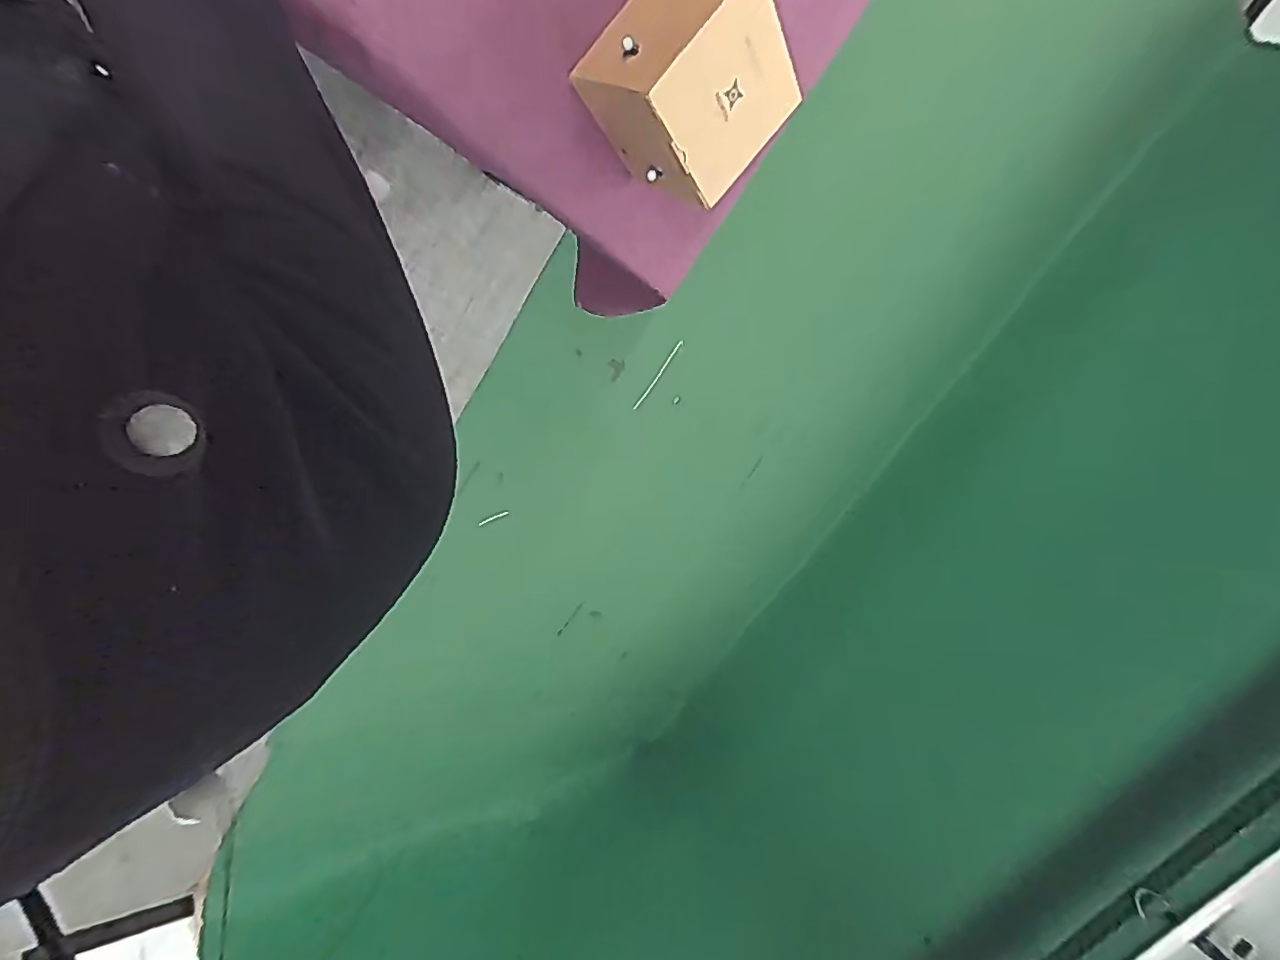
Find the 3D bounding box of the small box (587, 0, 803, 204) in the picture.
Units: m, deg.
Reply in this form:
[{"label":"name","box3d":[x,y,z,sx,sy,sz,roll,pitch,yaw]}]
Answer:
[{"label":"small box","box3d":[0.058,-0.480,0.655,0.179,0.176,0.168,-49,143,5]}]
